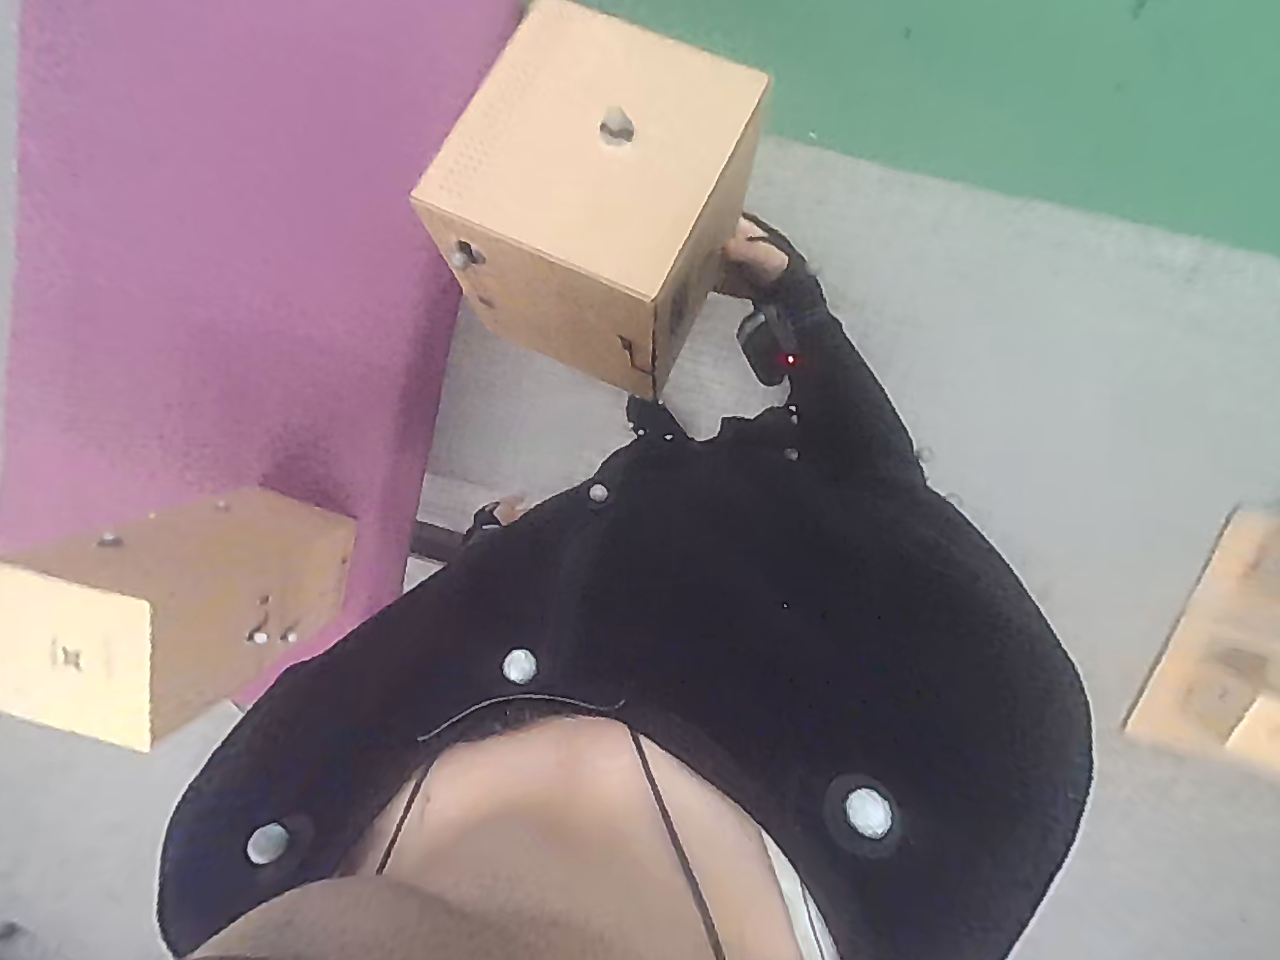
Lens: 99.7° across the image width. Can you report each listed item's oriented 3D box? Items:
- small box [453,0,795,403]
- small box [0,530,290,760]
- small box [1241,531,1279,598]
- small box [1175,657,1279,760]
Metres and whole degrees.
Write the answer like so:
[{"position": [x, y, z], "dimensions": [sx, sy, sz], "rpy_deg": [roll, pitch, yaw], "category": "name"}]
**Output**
[{"position": [-0.015, -0.190, 0.400], "dimensions": [0.176, 0.168, 0.179], "rpy_deg": [25, 79, 4], "category": "small box"}, {"position": [-0.533, 0.164, 0.597], "dimensions": [0.179, 0.176, 0.168], "rpy_deg": [12, 102, 4], "category": "small box"}, {"position": [1.661, 0.234, 1.317], "dimensions": [0.179, 0.176, 0.168], "rpy_deg": [20, 103, 1], "category": "small box"}, {"position": [1.564, 0.584, 1.394], "dimensions": [0.179, 0.176, 0.168], "rpy_deg": [19, 103, 1], "category": "small box"}]
